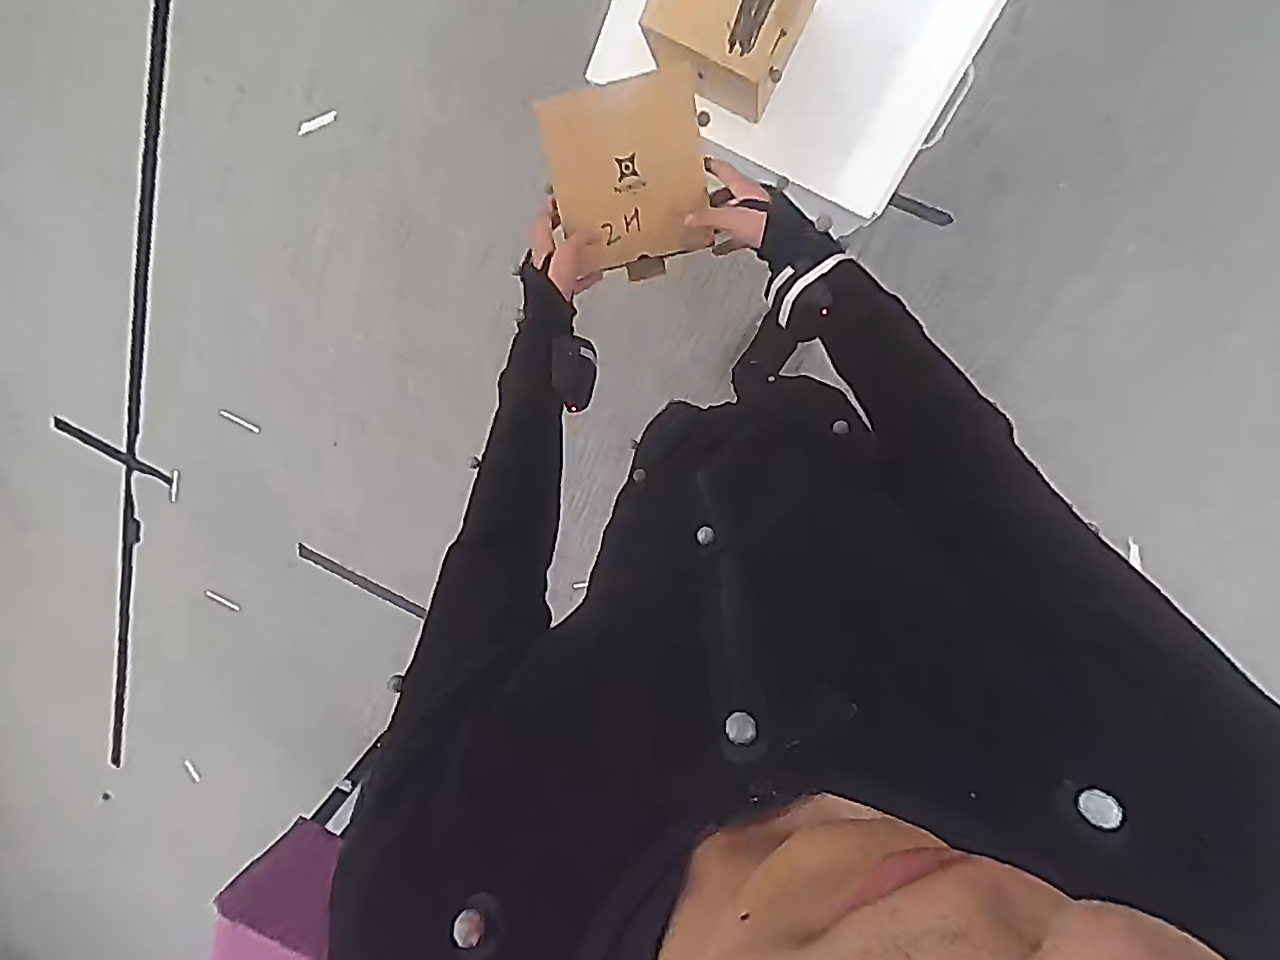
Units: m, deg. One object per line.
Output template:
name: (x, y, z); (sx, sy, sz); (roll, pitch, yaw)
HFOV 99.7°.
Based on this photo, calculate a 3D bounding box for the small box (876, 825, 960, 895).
small box: (0.949, 1.340, 1.865); (0.179, 0.176, 0.168); (27, 111, 2)

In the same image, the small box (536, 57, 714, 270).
small box: (-0.012, -0.361, 0.648); (0.168, 0.176, 0.179); (-10, 114, 6)
